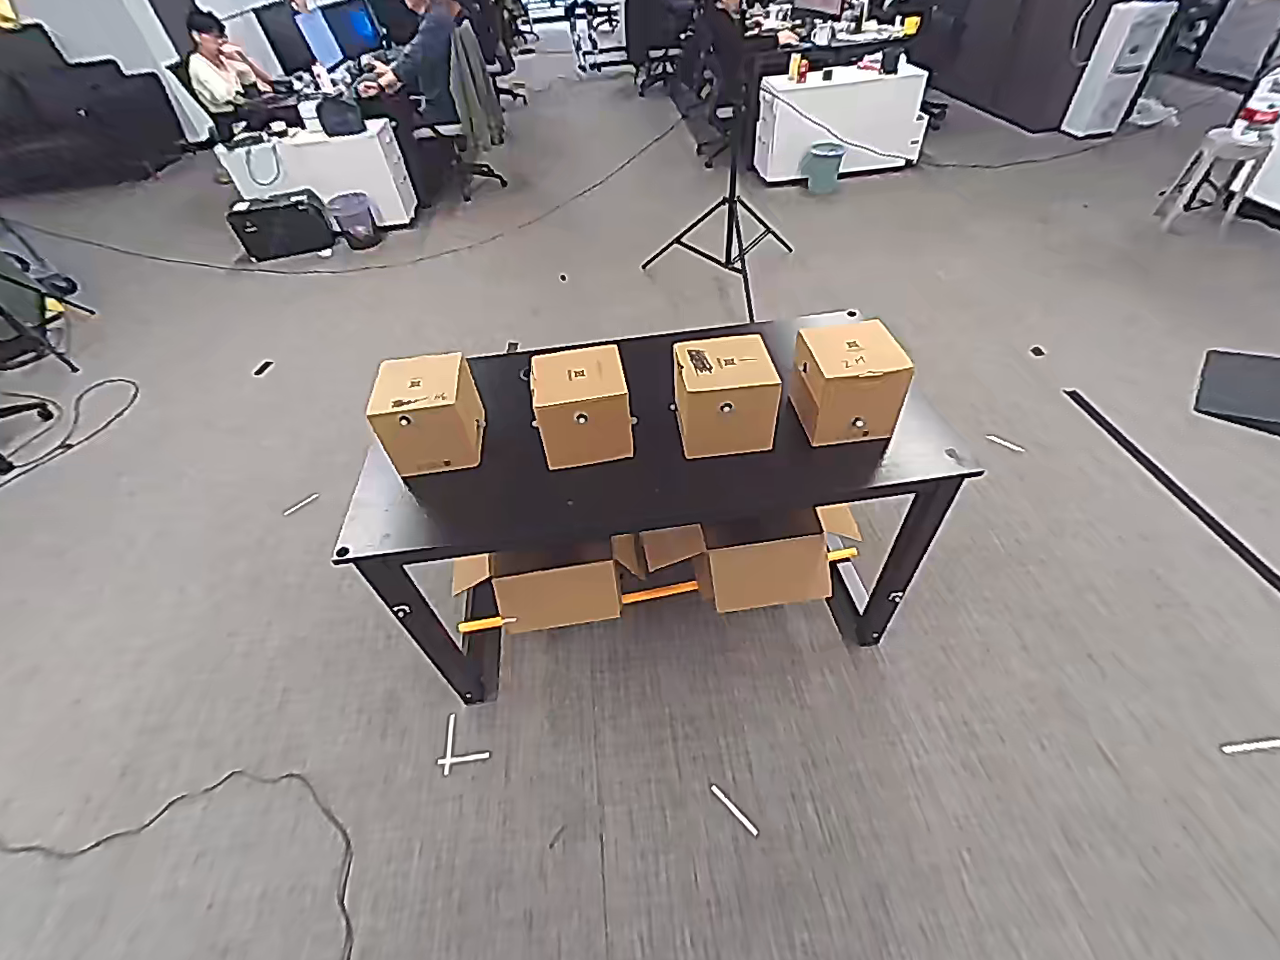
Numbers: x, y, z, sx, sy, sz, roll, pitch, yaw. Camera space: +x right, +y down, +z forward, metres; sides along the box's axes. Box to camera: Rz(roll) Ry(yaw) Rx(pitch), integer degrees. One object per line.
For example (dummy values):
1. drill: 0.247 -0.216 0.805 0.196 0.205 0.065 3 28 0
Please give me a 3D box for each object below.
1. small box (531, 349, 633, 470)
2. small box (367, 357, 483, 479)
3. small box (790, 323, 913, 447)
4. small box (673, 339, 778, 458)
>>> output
1. small box: -0.115 -0.138 1.089 0.179 0.176 0.168 -9 47 -4
2. small box: -0.425 -0.126 1.104 0.168 0.176 0.179 -8 46 -3
3. small box: 0.408 -0.188 1.080 0.168 0.176 0.179 -7 46 0
4. small box: 0.164 -0.158 1.077 0.179 0.176 0.168 -6 46 0
